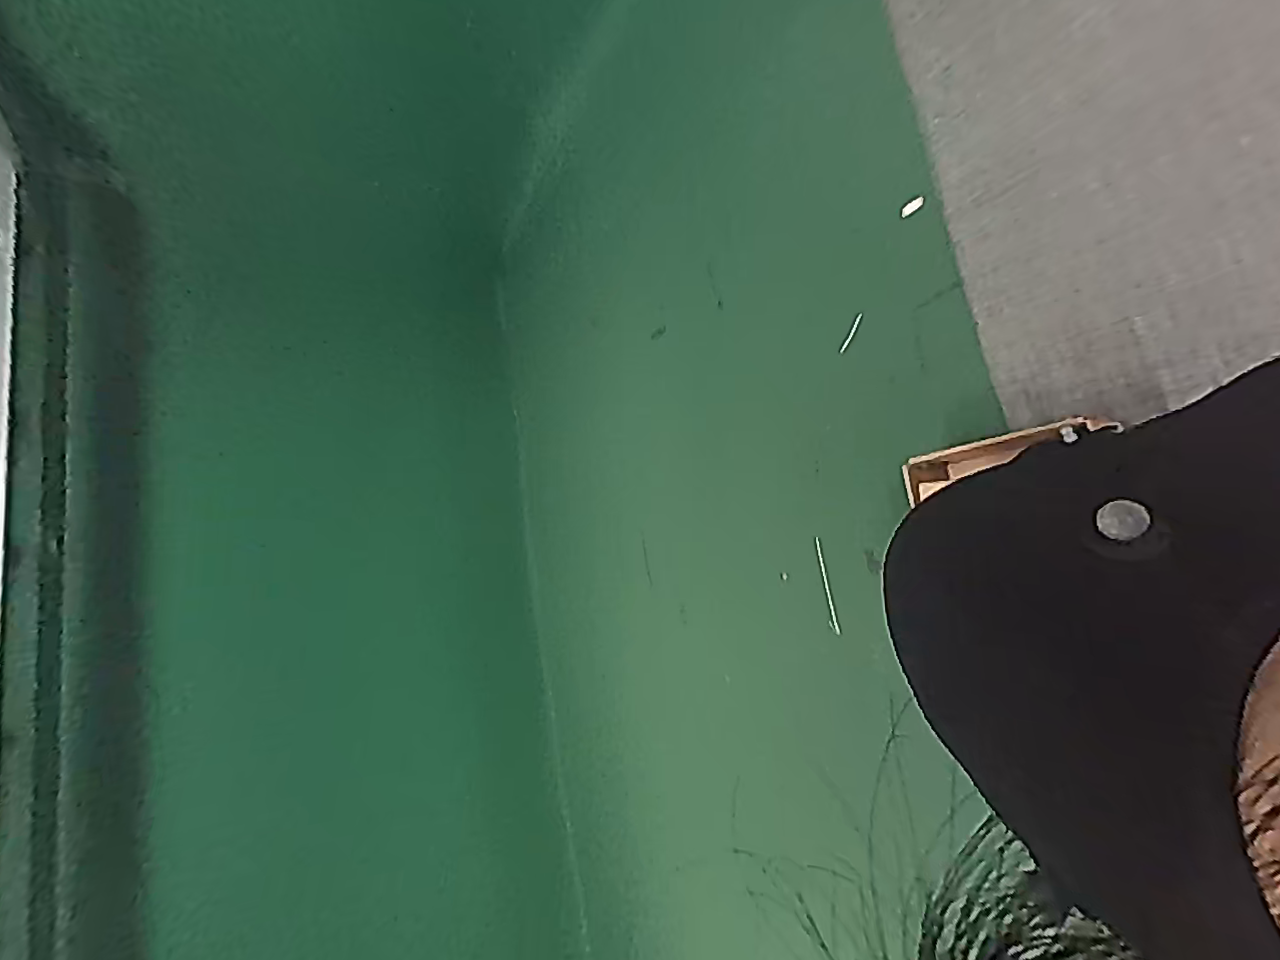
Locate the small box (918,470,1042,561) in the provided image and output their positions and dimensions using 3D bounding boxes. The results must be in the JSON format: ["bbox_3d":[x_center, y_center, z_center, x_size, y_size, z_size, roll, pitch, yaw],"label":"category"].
[{"bbox_3d":[0.714,0.071,1.137,0.168,0.176,0.179,-9,86,54],"label":"small box"}]
